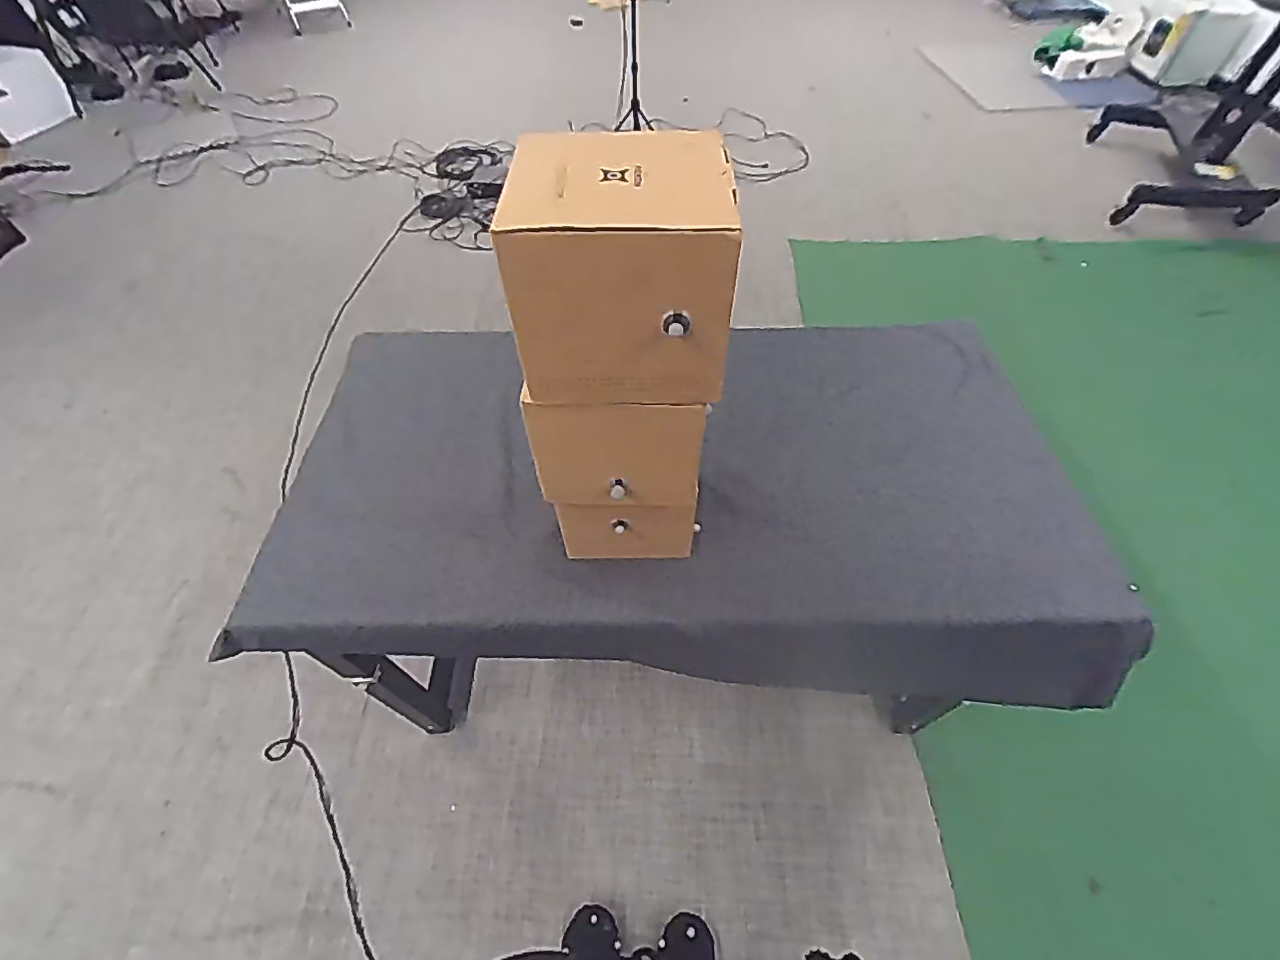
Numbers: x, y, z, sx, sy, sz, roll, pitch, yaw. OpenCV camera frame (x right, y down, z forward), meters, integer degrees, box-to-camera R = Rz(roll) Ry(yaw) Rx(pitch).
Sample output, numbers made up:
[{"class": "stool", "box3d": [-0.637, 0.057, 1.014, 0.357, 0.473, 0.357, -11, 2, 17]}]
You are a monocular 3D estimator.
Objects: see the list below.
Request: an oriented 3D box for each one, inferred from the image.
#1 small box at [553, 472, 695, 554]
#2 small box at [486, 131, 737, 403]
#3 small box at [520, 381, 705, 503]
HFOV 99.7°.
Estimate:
[{"class": "small box", "box3d": [-0.020, -0.007, 0.756, 0.179, 0.176, 0.168, -1, 53, 2]}, {"class": "small box", "box3d": [-0.018, -0.183, 0.481, 0.179, 0.176, 0.168, -1, 52, 1]}, {"class": "small box", "box3d": [-0.025, -0.085, 0.615, 0.179, 0.176, 0.168, -1, 55, 1]}]
